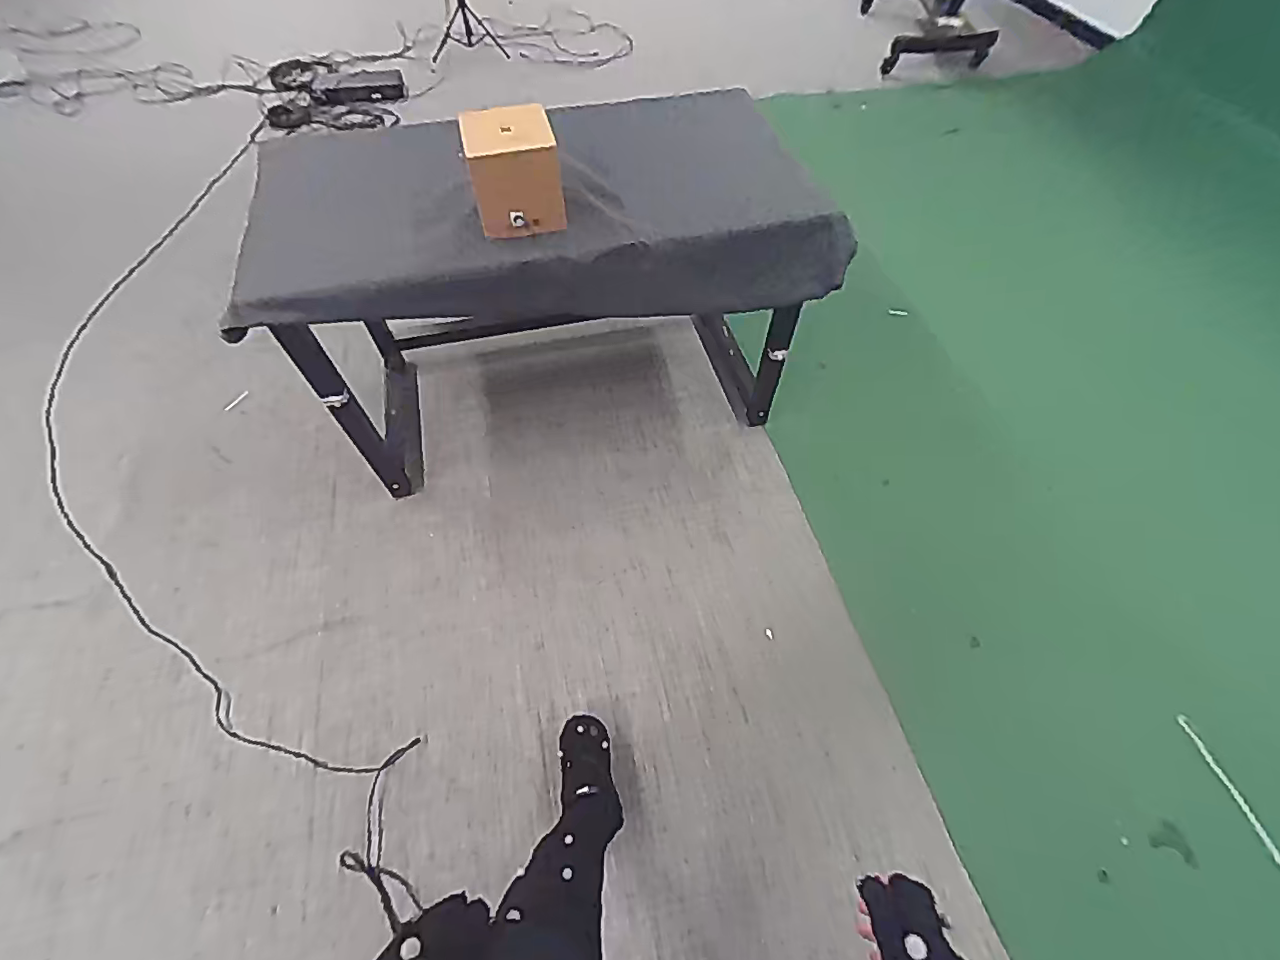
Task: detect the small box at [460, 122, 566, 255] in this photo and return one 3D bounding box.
[{"bbox_3d":[-0.253,-0.586,1.092,0.168,0.176,0.179,-14,58,-8],"label":"small box"}]
